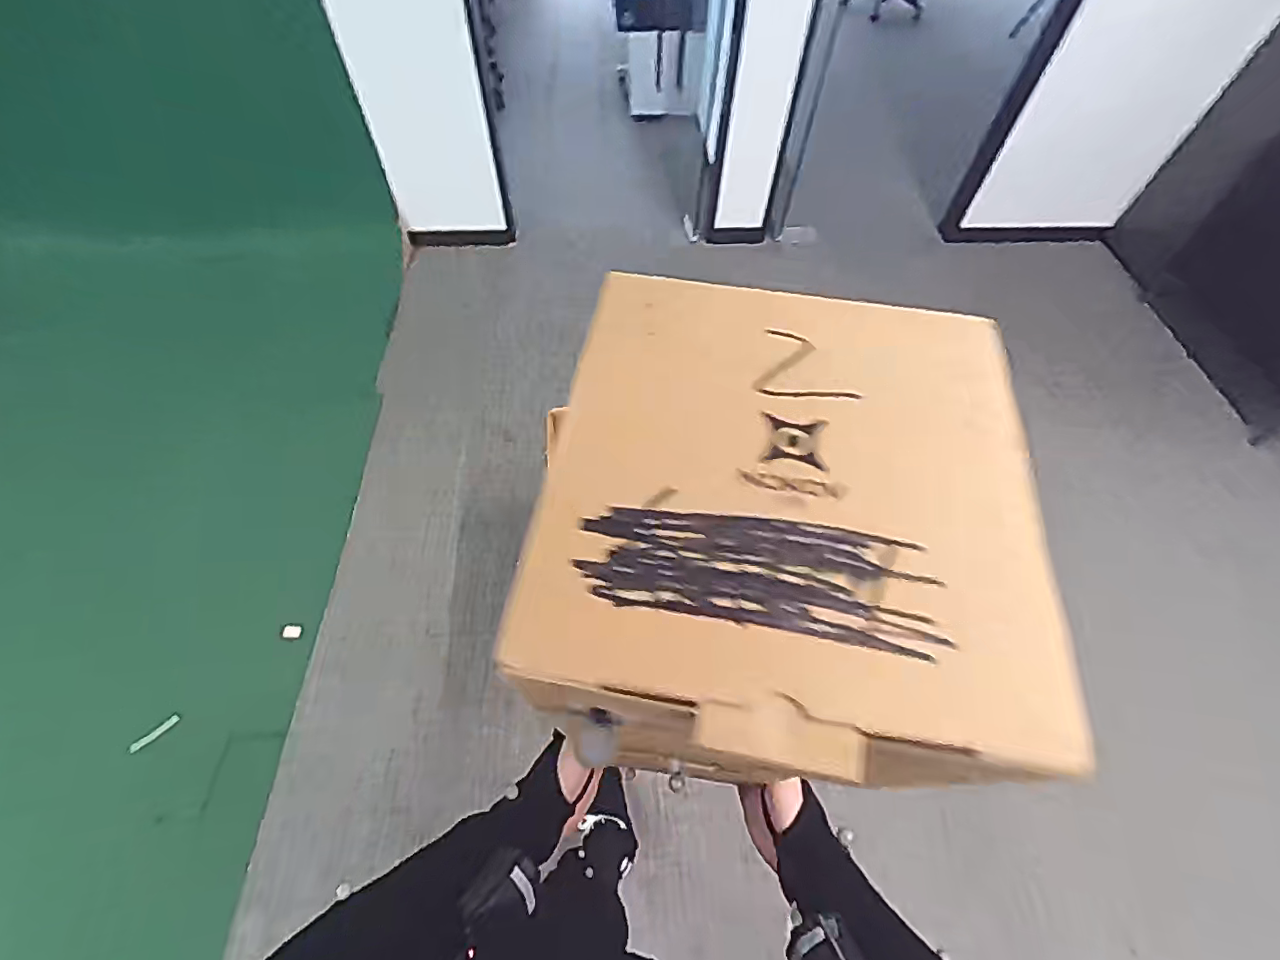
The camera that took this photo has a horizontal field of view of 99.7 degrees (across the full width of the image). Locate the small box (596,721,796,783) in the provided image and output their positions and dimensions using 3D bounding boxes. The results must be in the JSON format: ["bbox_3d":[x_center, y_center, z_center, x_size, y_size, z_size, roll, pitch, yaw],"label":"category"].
[{"bbox_3d":[0.054,0.192,0.544,0.168,0.176,0.179,7,59,4],"label":"small box"}]

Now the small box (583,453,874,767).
[{"bbox_3d":[0.056,0.105,0.408,0.168,0.176,0.179,7,60,3],"label":"small box"}]
